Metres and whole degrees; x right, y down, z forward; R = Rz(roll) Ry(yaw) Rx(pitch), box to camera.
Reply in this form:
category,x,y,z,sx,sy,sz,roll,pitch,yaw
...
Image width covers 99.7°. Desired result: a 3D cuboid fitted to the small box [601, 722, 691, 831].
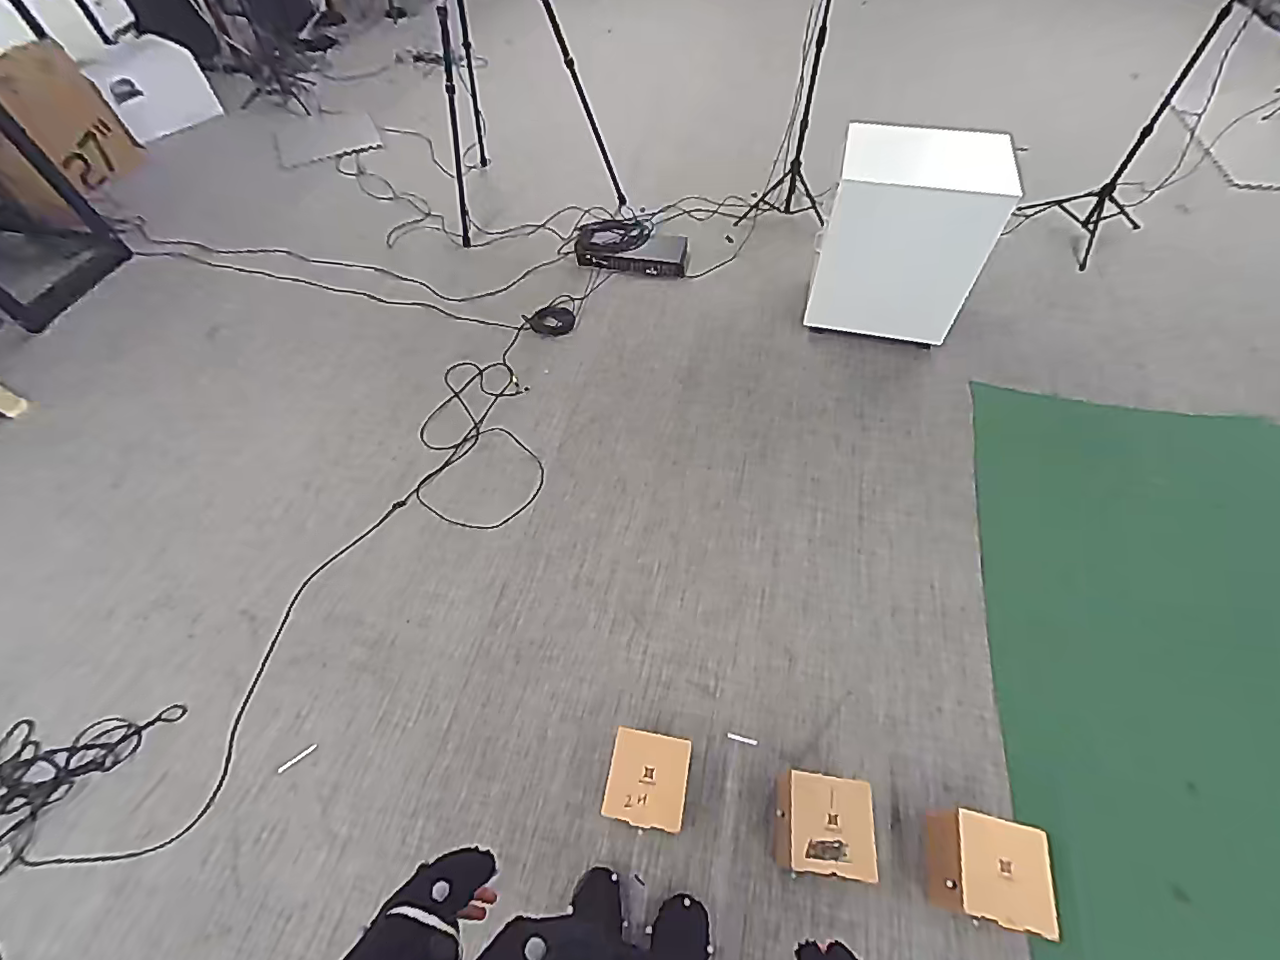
category,x,y,z,sx,sy,sz,roll,pitch,yaw
small box,0.017,0.665,1.210,0.168,0.176,0.179,8,57,8

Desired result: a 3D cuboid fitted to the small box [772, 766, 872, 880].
category,x,y,z,sx,sy,sz,roll,pitch,yaw
small box,0.382,0.732,1.157,0.168,0.176,0.179,7,55,6

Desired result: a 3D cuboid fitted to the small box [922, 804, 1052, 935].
category,x,y,z,sx,sy,sz,roll,pitch,yaw
small box,0.697,0.792,1.110,0.168,0.176,0.179,11,57,10
